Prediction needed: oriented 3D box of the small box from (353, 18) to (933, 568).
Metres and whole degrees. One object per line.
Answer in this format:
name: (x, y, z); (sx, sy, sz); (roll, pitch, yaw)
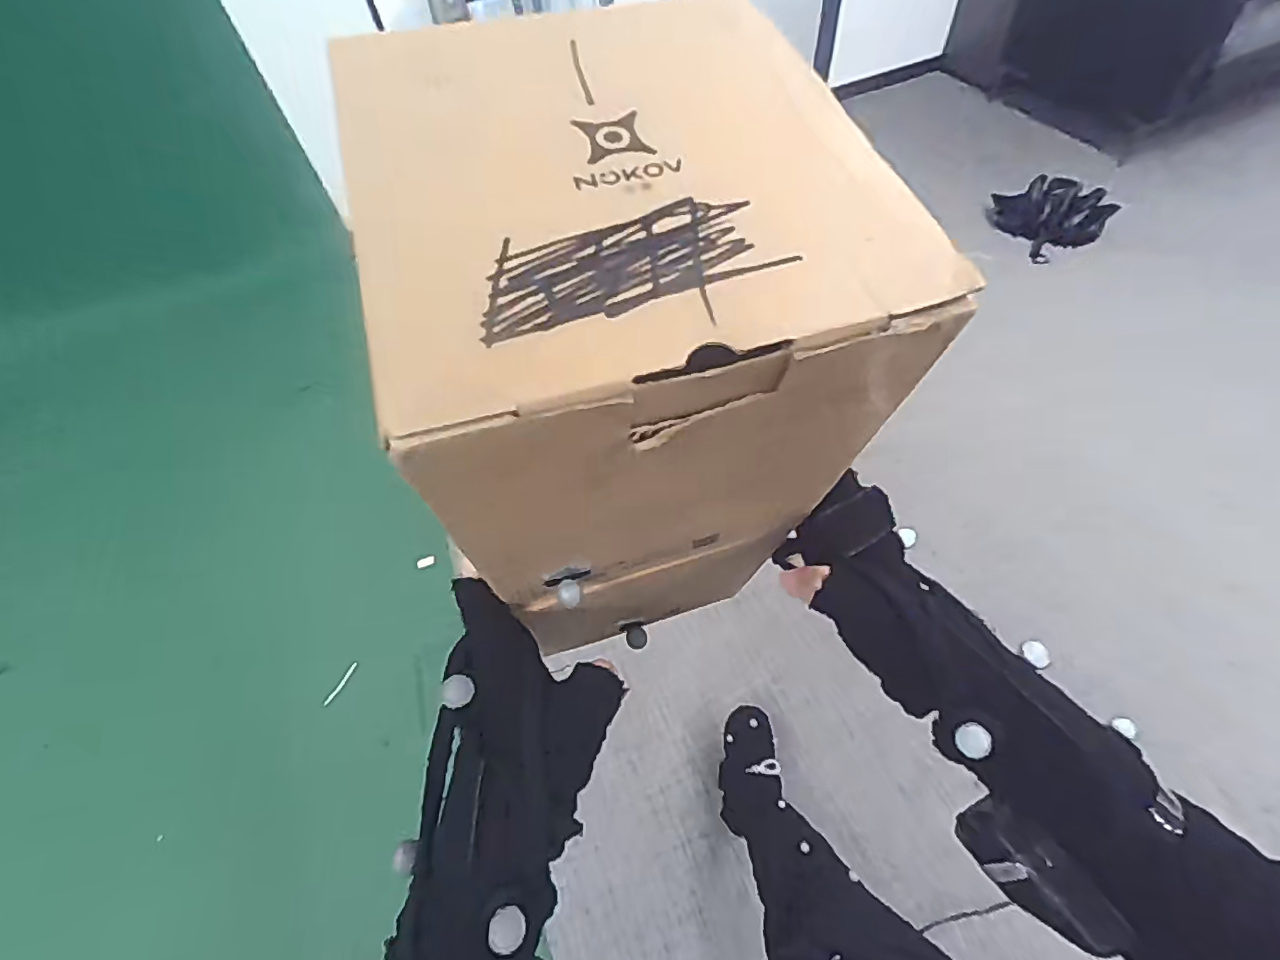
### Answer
small box: (-0.012, -0.070, 0.259); (0.168, 0.176, 0.179); (-15, 65, -9)

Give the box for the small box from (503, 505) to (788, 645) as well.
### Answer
small box: (-0.020, 0.005, 0.405); (0.168, 0.176, 0.179); (-15, 66, -10)
